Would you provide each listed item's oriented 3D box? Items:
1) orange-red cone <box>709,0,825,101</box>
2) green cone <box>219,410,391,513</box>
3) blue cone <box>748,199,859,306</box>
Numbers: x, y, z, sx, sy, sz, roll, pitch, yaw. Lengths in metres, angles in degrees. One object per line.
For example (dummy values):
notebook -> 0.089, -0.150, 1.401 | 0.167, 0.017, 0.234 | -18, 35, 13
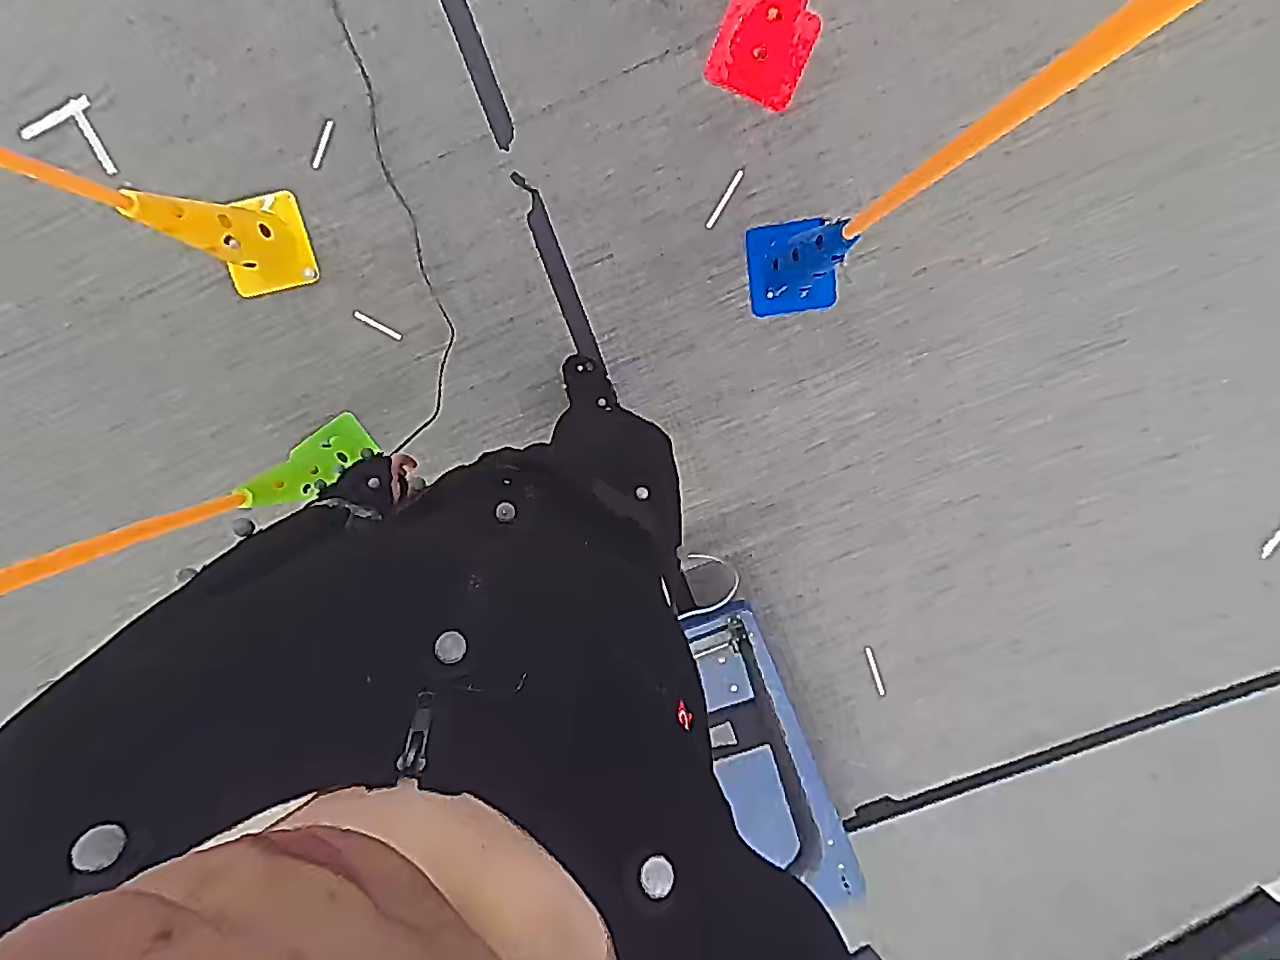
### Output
orange-red cone -> 0.264, -0.895, 0.972 | 0.198, 0.360, 0.199 | 24, 102, -4
green cone -> -0.738, -0.011, 1.154 | 0.200, 0.368, 0.202 | -34, 99, 6
blue cone -> 0.348, -0.472, 1.076 | 0.193, 0.380, 0.192 | -6, 101, 1
